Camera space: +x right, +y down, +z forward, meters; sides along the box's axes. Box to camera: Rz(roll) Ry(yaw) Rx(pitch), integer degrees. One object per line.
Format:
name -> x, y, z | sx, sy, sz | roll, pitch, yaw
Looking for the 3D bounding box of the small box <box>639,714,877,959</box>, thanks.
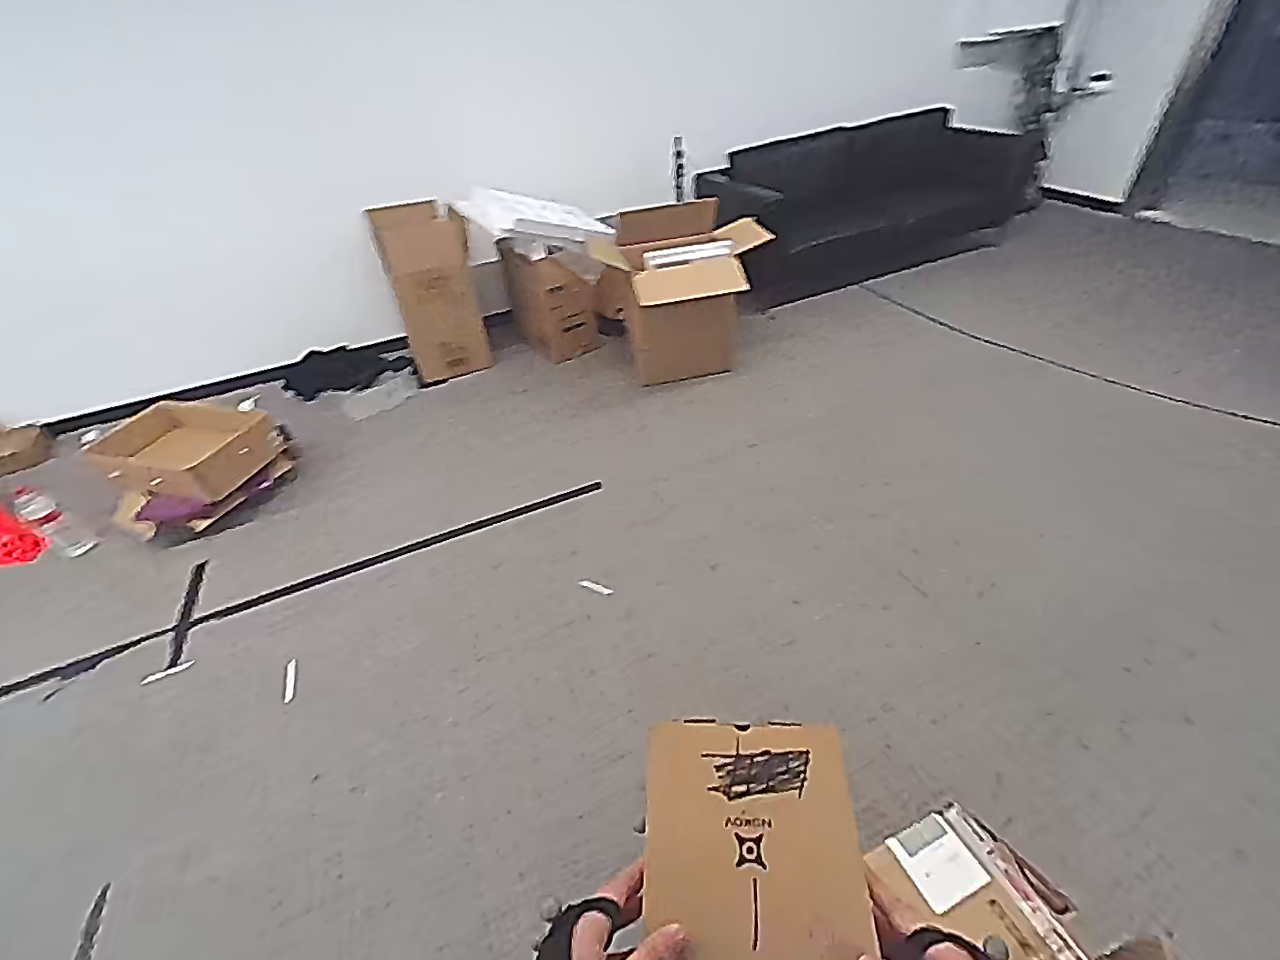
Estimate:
small box -> 0.088, 0.330, 0.482 | 0.168, 0.176, 0.179 | -1, 47, 4
